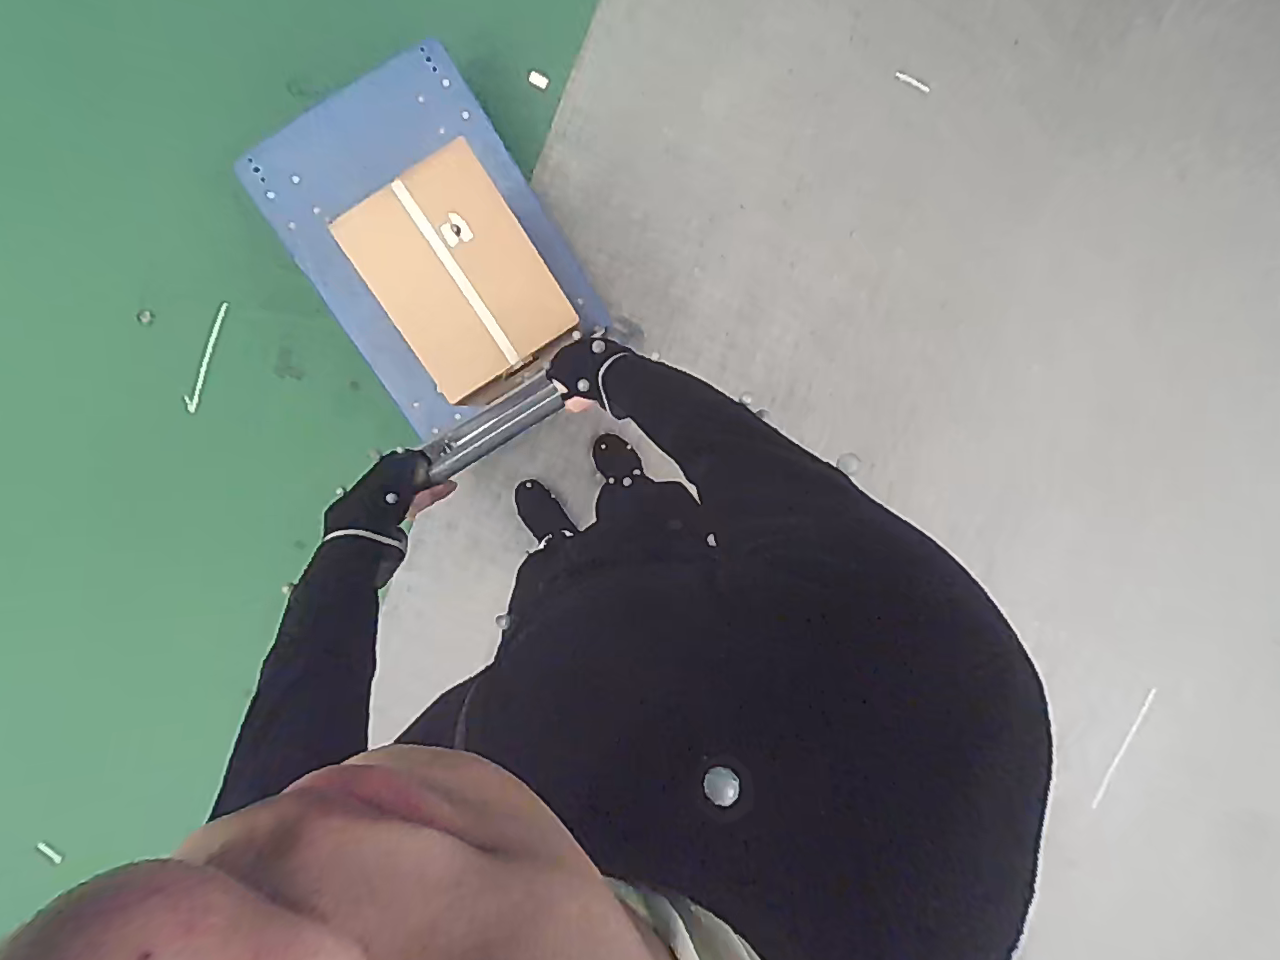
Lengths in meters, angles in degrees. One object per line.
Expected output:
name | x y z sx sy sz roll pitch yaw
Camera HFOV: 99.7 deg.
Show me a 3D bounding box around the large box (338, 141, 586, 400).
large box | -0.361 -0.429 1.218 0.320 0.320 0.408 -33 99 0
